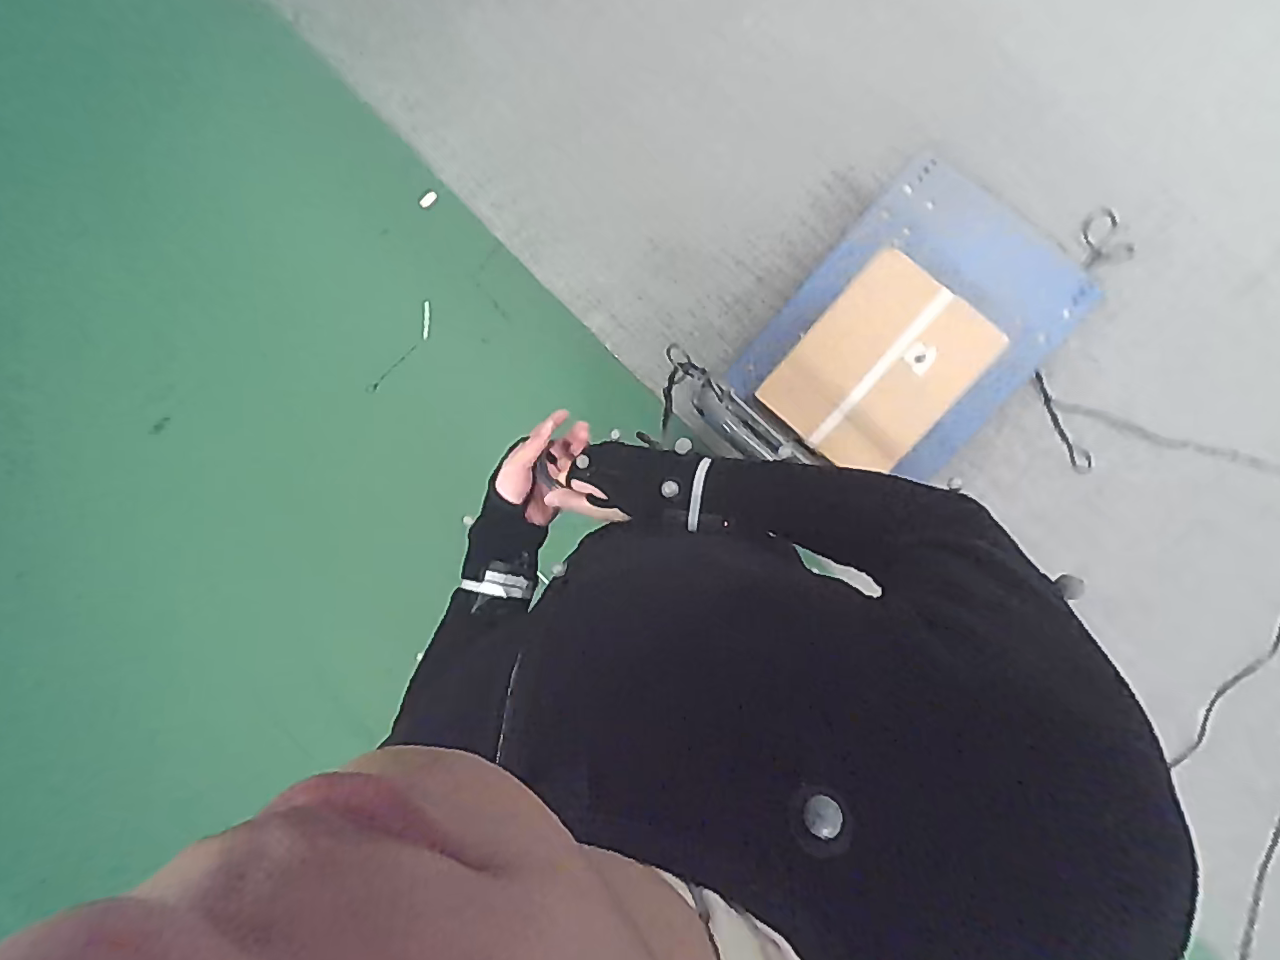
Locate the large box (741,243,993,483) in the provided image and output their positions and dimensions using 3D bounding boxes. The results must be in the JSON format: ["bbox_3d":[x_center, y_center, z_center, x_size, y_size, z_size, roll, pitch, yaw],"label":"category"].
[{"bbox_3d":[0.483,-0.239,1.253,0.320,0.320,0.408,41,96,3],"label":"large box"}]
